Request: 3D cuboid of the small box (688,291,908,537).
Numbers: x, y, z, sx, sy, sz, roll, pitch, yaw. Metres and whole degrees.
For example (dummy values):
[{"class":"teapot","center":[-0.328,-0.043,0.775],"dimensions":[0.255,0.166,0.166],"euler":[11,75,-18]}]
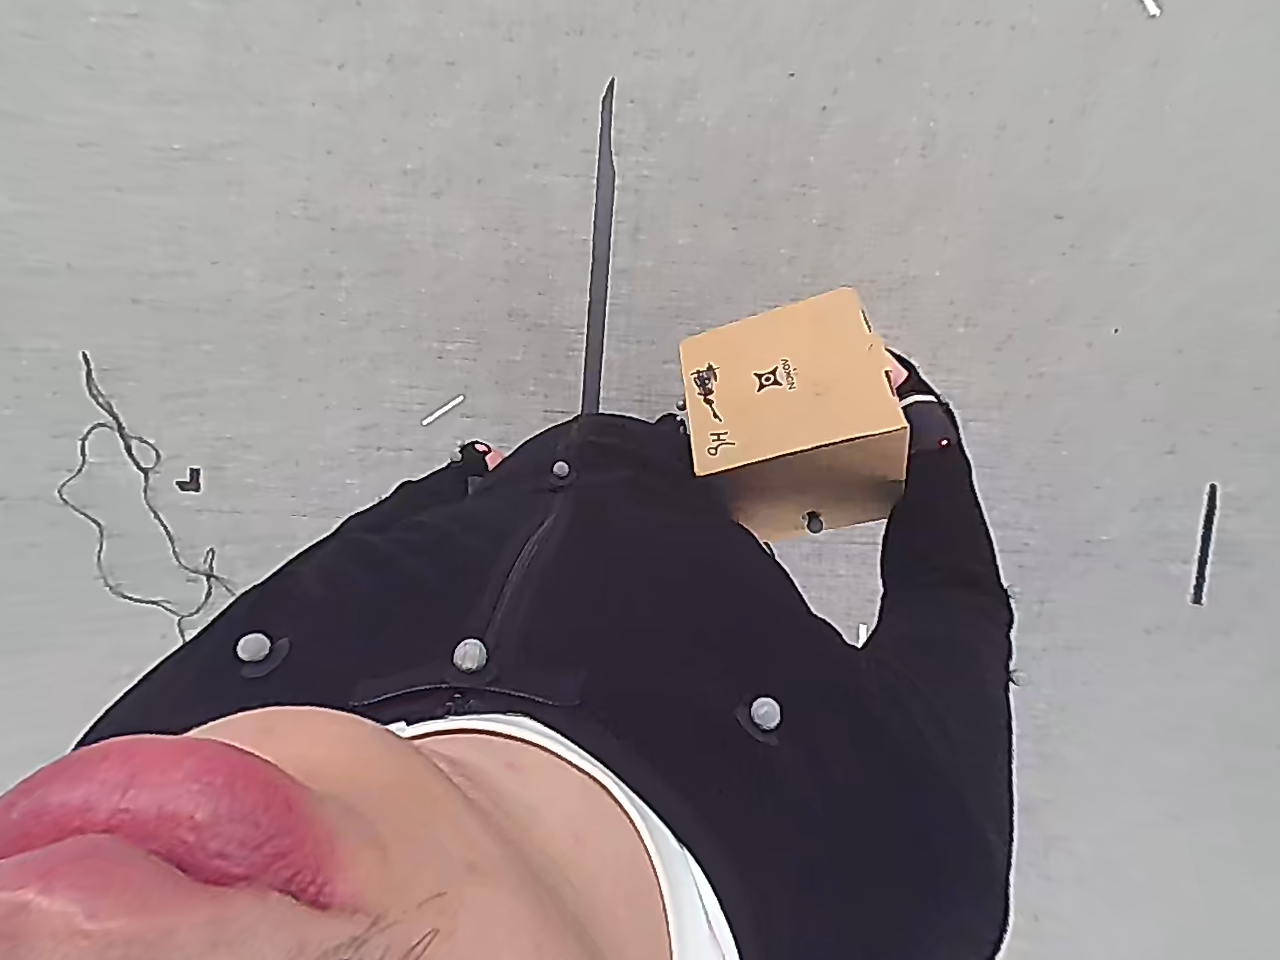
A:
[{"class":"small box","center":[0.161,-0.057,0.567],"dimensions":[0.179,0.176,0.168],"euler":[-13,57,16]}]
